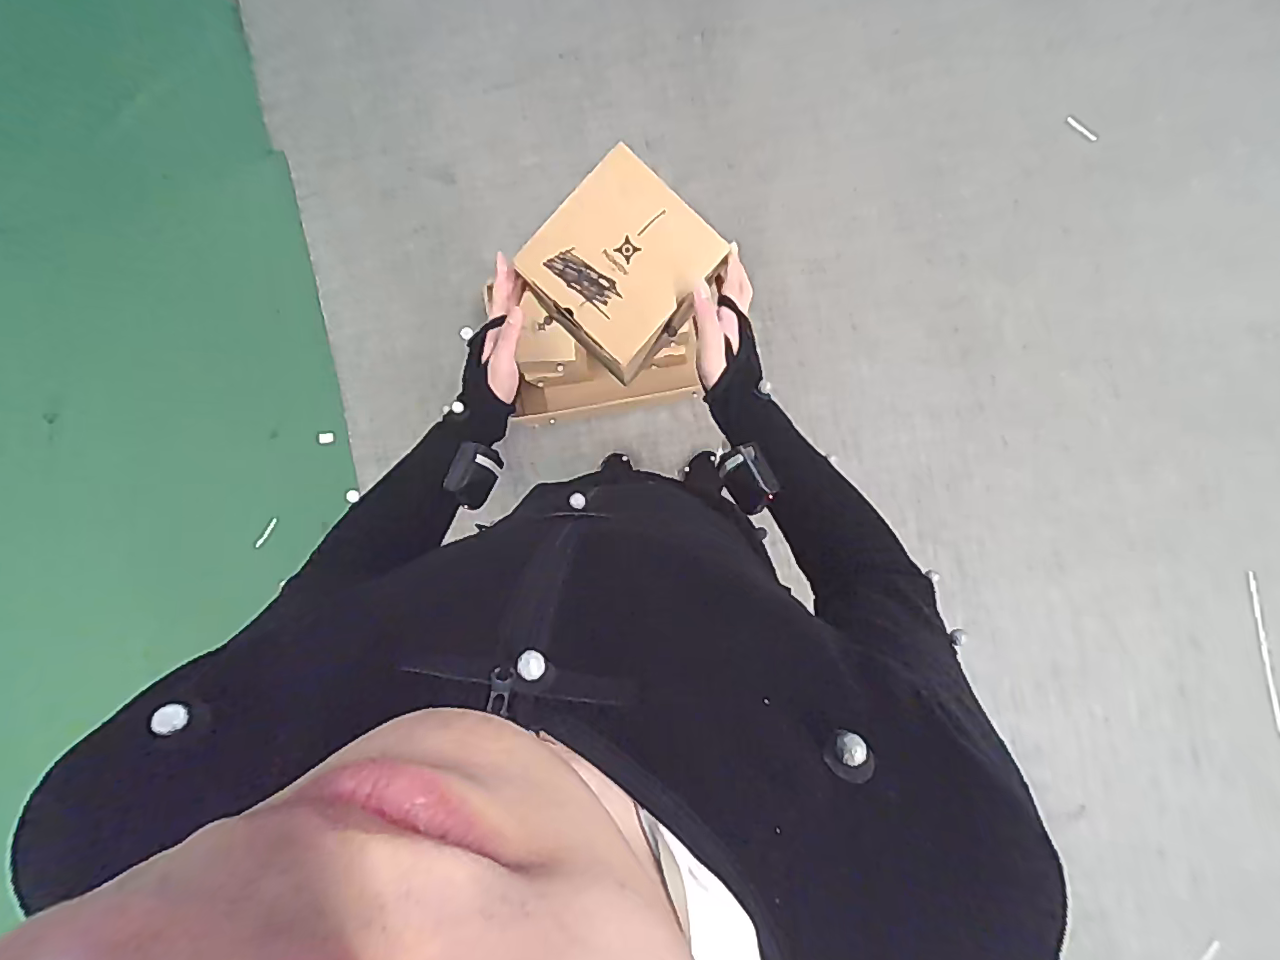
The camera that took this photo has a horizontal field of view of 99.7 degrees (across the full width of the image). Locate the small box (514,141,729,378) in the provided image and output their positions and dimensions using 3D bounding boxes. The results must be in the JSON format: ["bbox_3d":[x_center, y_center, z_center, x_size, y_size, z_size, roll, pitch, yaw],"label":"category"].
[{"bbox_3d":[-0.019,-0.244,0.654,0.168,0.176,0.179,43,91,-2],"label":"small box"}]
